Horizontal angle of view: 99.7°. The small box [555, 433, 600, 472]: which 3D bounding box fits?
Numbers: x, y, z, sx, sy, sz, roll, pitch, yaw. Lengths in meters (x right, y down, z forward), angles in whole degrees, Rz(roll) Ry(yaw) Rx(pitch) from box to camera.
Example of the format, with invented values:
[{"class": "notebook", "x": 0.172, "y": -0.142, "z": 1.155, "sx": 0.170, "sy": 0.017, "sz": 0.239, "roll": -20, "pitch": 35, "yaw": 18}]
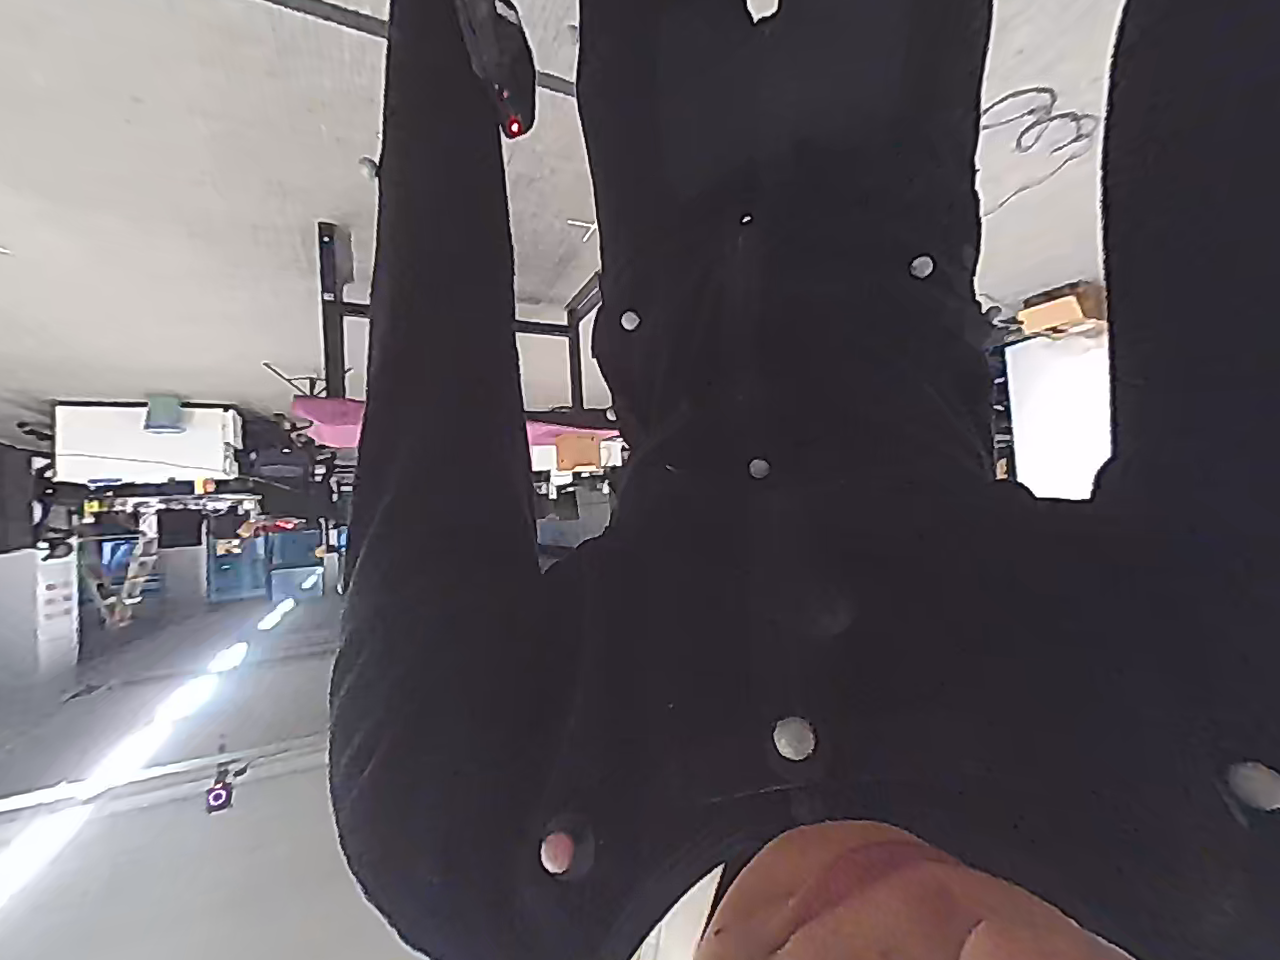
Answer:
[{"class": "small box", "x": -0.300, "y": -0.130, "z": 2.544, "sx": 0.168, "sy": 0.176, "sz": 0.179, "roll": -2, "pitch": 178, "yaw": -26}]
